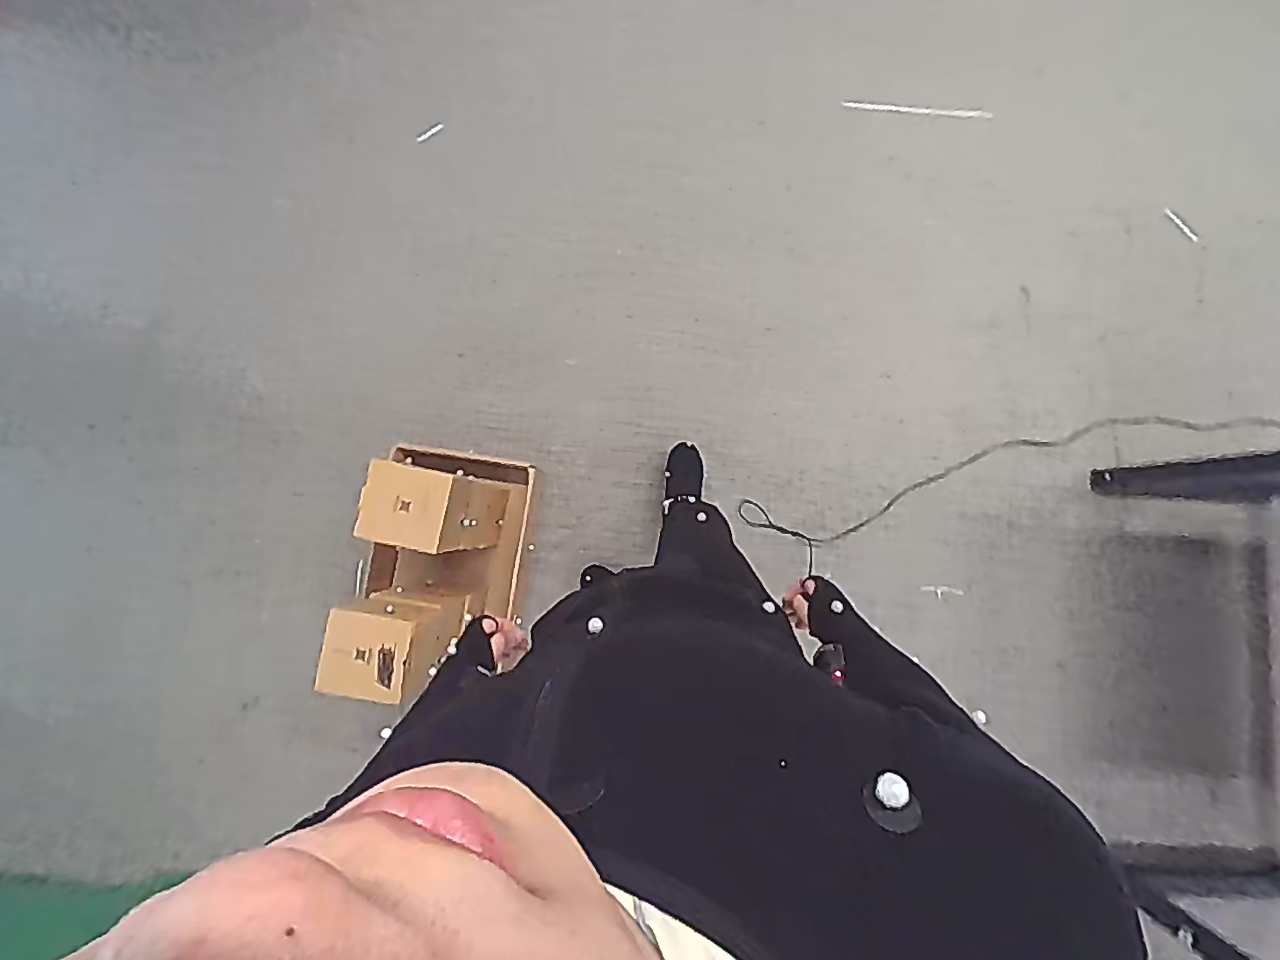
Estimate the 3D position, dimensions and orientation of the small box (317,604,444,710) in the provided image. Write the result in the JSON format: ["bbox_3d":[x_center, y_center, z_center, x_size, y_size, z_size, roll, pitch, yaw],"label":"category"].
[{"bbox_3d":[-0.540,0.366,1.150,0.179,0.176,0.168,9,85,3],"label":"small box"}]

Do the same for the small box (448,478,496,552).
[{"bbox_3d":[-0.479,0.080,1.338,0.179,0.176,0.168,11,86,2],"label":"small box"}]

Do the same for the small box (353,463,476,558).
[{"bbox_3d":[-0.480,0.068,1.175,0.179,0.176,0.168,12,86,0],"label":"small box"}]

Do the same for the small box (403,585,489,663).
[{"bbox_3d":[-0.533,0.385,1.477,0.179,0.176,0.168,9,85,2],"label":"small box"}]

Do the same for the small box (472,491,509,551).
[{"bbox_3d":[-0.480,0.102,1.500,0.179,0.176,0.168,10,85,1],"label":"small box"}]
